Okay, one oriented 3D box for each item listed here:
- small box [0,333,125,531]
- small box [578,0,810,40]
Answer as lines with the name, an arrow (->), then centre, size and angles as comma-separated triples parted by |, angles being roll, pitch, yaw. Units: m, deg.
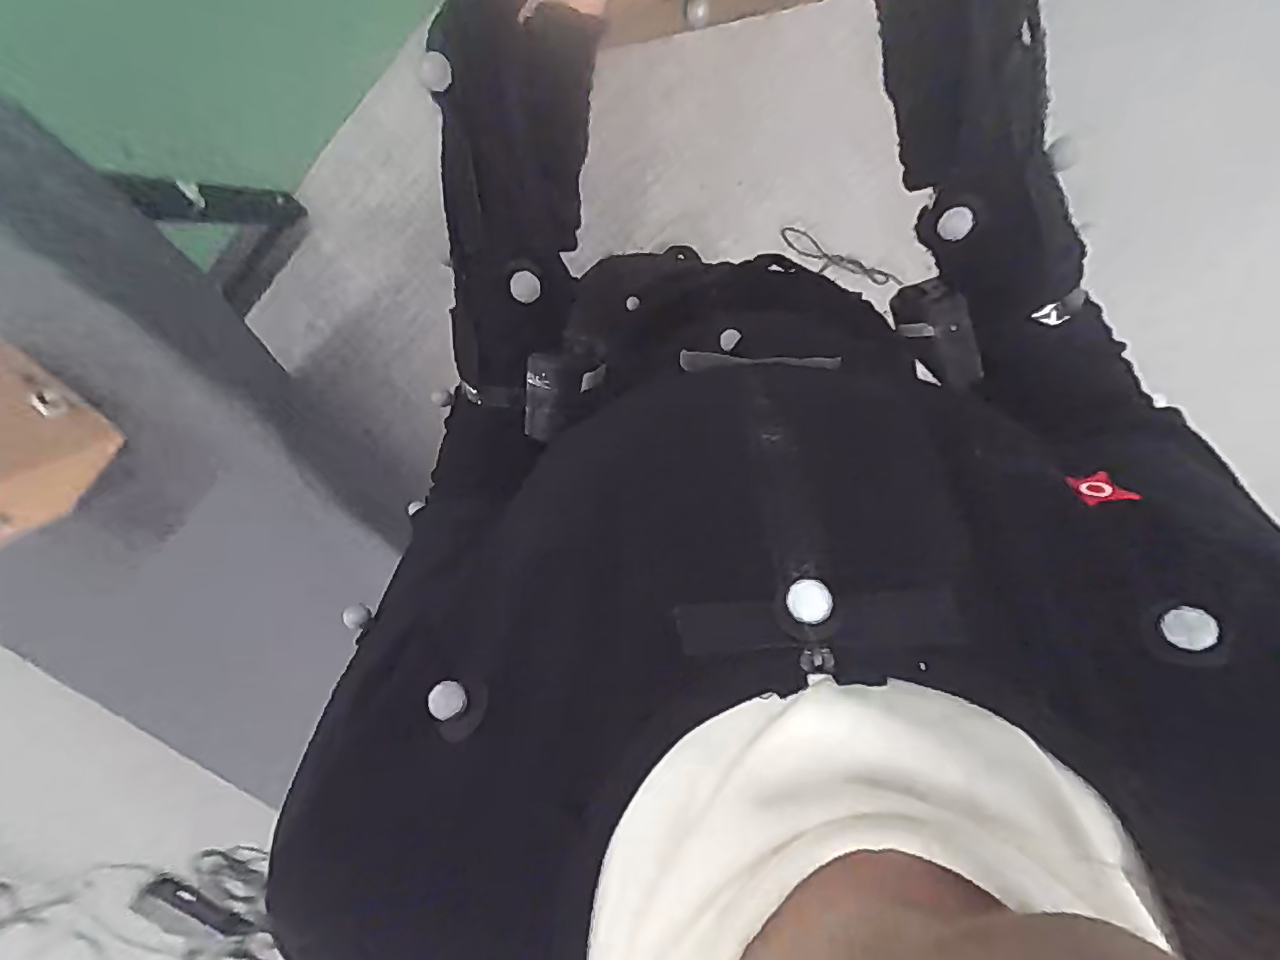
small box -> -0.776, -0.045, 0.631 | 0.179, 0.176, 0.168 | -39, 109, 16
small box -> 0.031, -0.331, 0.242 | 0.168, 0.176, 0.179 | -7, 123, 7
